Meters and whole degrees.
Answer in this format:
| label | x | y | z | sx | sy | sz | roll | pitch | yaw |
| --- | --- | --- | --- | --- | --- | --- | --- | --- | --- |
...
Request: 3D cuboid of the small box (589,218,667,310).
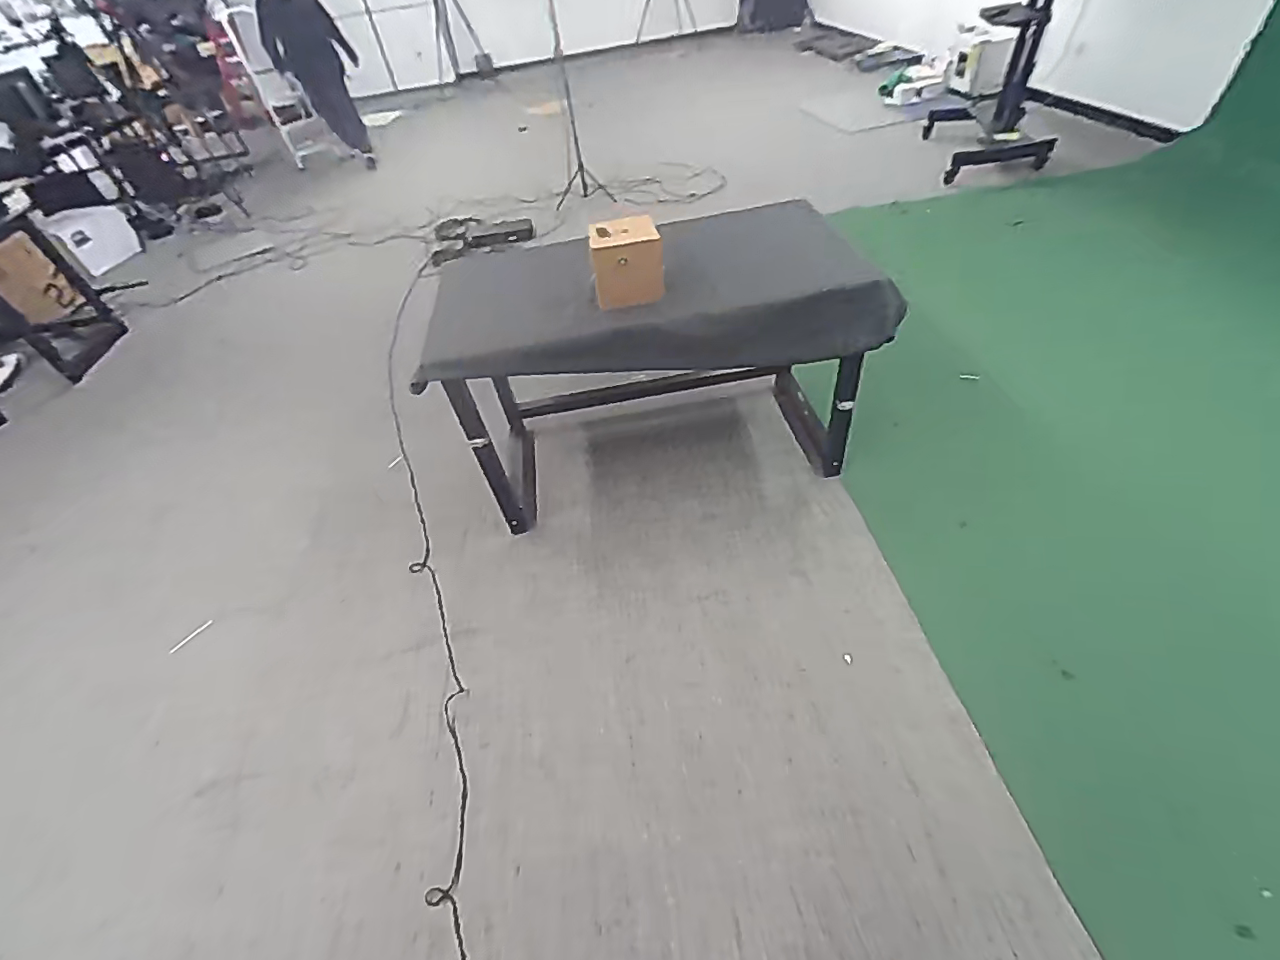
| label | x | y | z | sx | sy | sz | roll | pitch | yaw |
| --- | --- | --- | --- | --- | --- | --- | --- | --- | --- |
| small box | -0.031 | -0.572 | 1.440 | 0.179 | 0.176 | 0.168 | -10 | 45 | -1 |
